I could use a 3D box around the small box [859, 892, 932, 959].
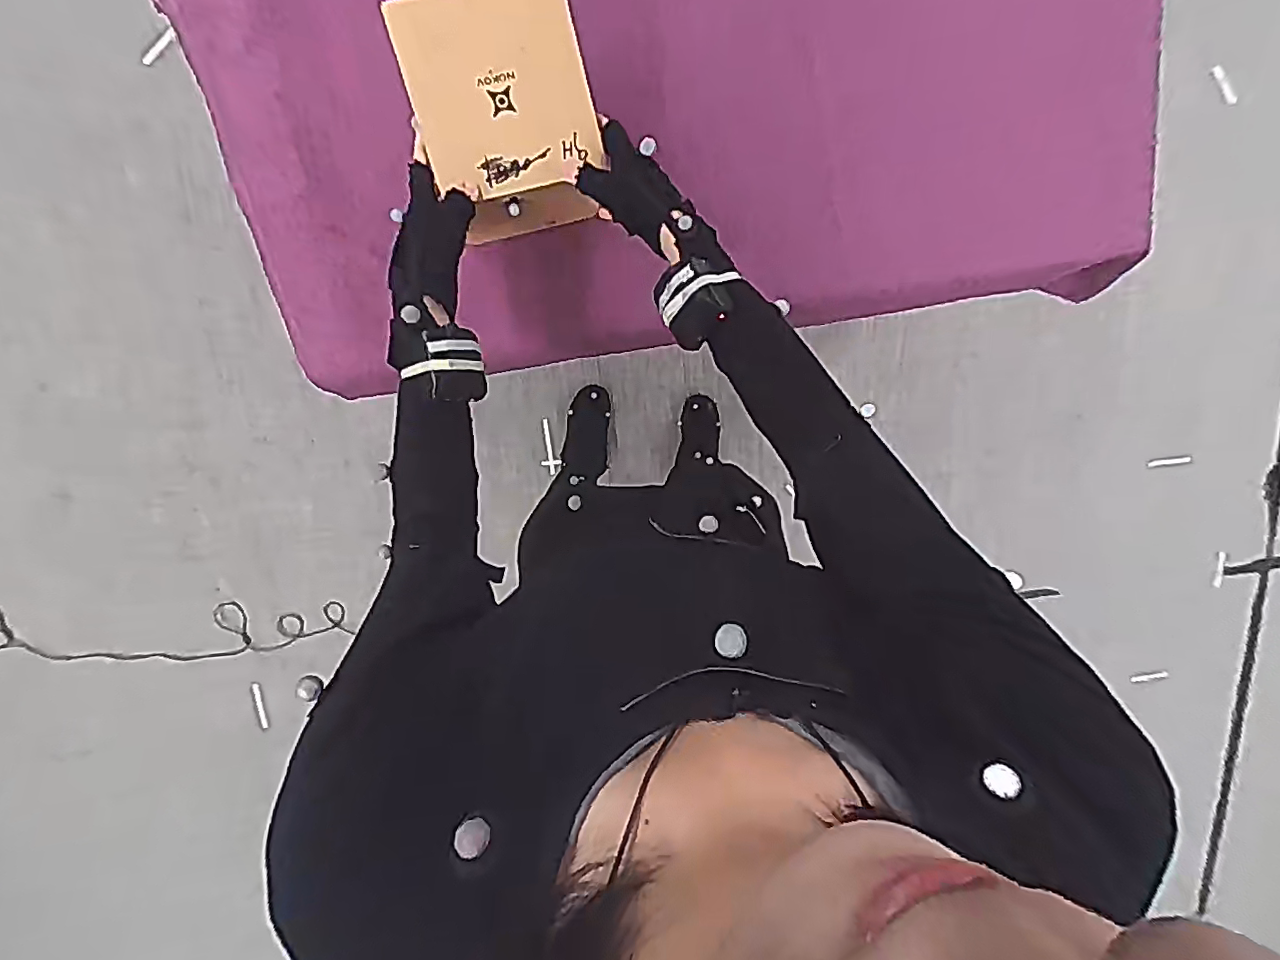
[{"bbox_3d":[0.902,1.615,1.921,0.168,0.176,0.179,-18,105,-5],"label":"small box"}]

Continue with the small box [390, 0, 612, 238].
[{"bbox_3d":[-0.137,-0.383,0.579,0.168,0.176,0.179,-16,104,-5],"label":"small box"}]
